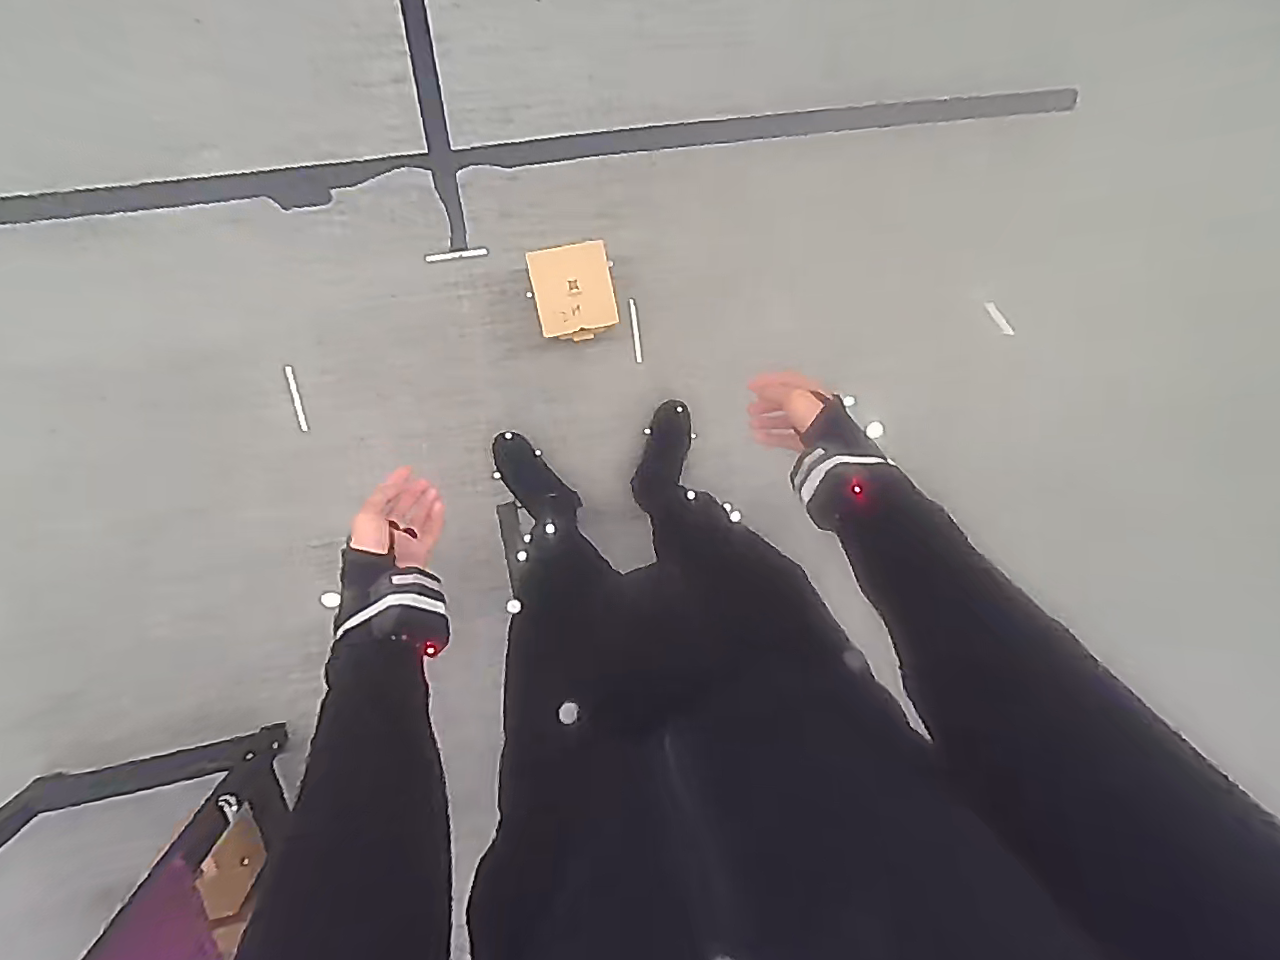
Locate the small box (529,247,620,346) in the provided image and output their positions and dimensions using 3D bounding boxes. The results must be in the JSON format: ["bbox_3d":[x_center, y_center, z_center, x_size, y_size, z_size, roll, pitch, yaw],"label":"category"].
[{"bbox_3d":[-0.150,-0.403,1.213,0.168,0.176,0.179,-13,105,-6],"label":"small box"}]
